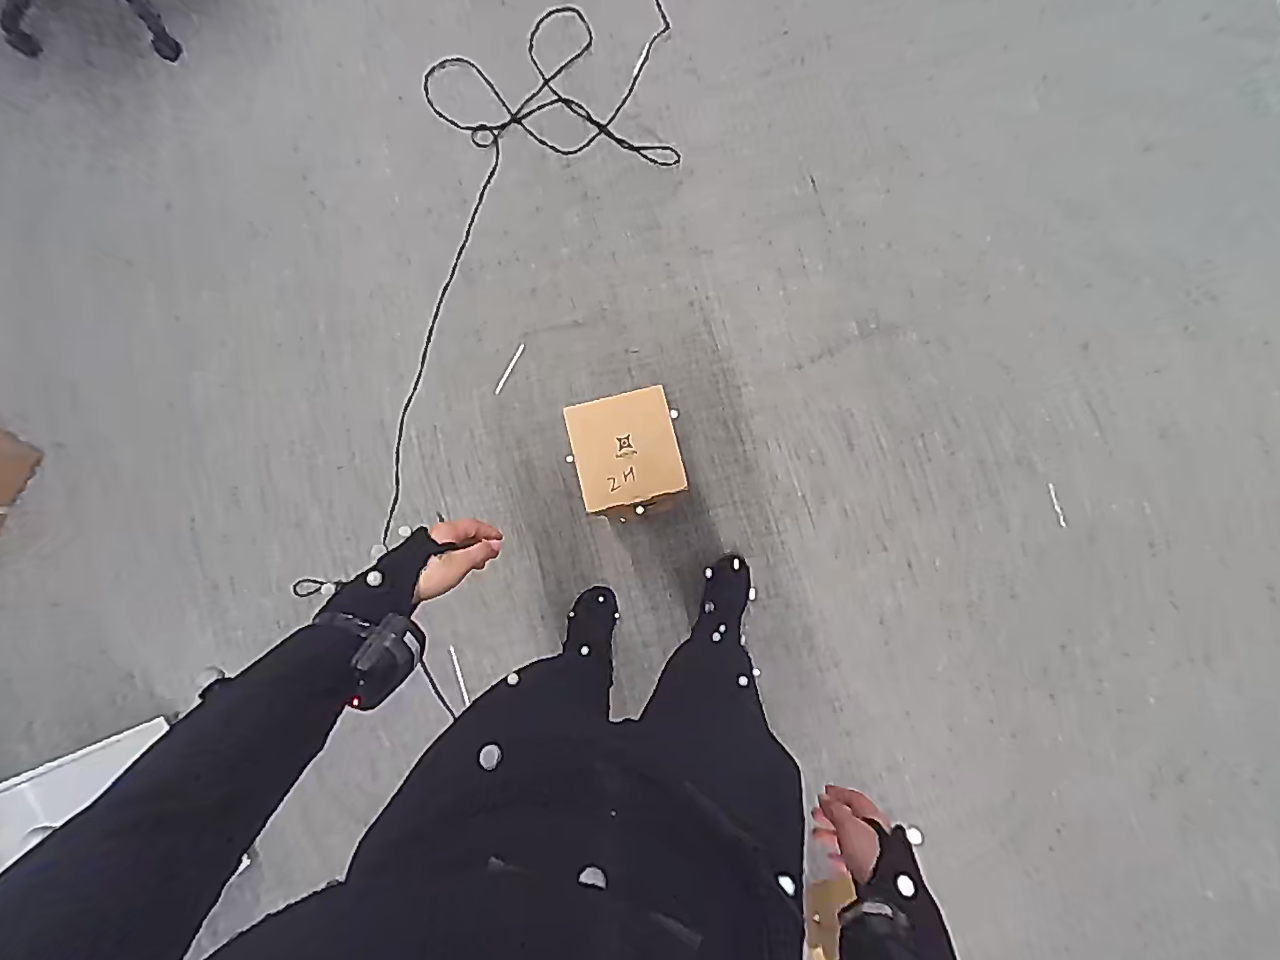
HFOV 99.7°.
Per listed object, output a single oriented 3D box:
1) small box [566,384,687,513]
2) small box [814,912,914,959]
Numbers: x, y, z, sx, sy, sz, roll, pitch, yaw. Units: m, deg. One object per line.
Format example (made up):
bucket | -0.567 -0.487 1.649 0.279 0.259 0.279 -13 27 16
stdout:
small box | -0.023 -0.046 0.931 0.168 0.176 0.179 -13 85 0
small box | 0.457 0.990 1.033 0.168 0.176 0.179 -17 85 -2
